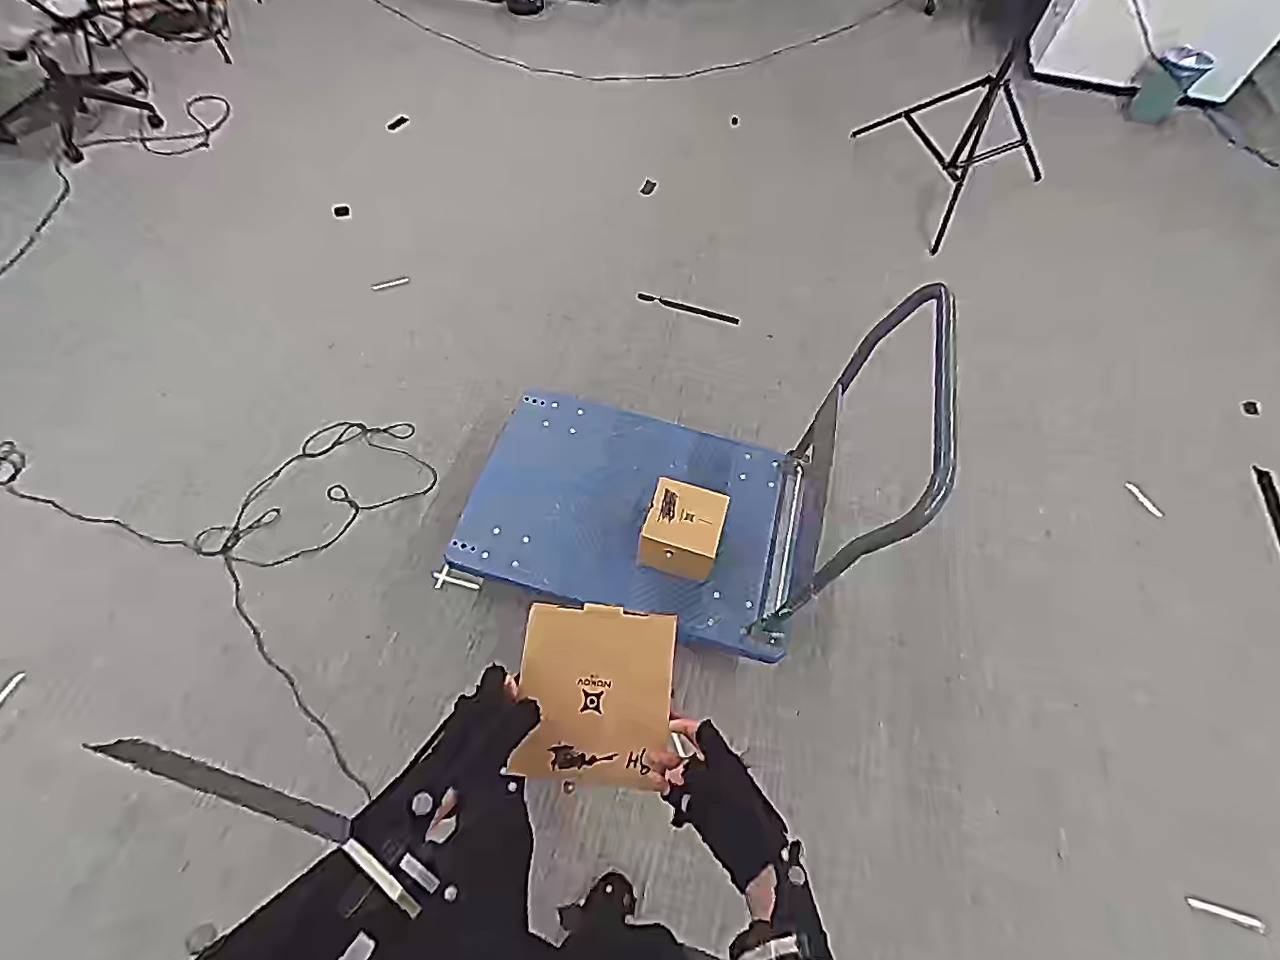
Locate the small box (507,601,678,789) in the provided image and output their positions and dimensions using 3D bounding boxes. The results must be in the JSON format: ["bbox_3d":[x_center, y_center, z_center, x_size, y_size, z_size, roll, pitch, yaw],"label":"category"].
[{"bbox_3d":[-0.046,0.254,0.657,0.168,0.176,0.179,5,70,5],"label":"small box"}]

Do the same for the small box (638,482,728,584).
[{"bbox_3d":[0.099,0.135,1.317,0.179,0.176,0.168,17,60,6],"label":"small box"}]
